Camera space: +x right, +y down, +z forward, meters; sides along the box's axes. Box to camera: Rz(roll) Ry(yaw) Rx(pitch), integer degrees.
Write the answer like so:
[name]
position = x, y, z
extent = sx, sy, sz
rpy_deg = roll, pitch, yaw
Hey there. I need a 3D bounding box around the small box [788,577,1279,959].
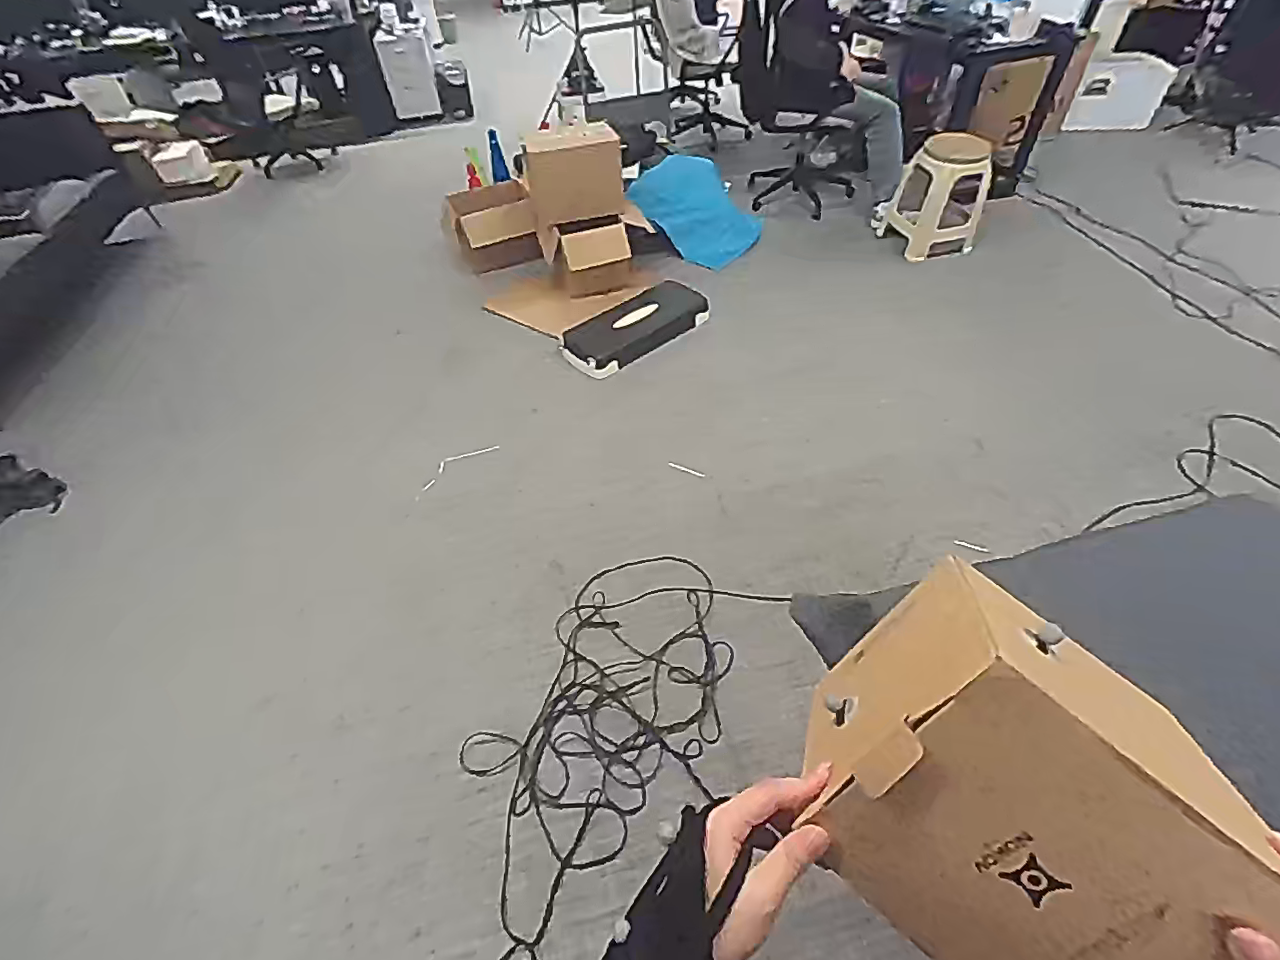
[small box]
position = 0.223, 0.184, 0.347
extent = 0.179, 0.168, 0.176
rpy_deg = 37, 23, 10
